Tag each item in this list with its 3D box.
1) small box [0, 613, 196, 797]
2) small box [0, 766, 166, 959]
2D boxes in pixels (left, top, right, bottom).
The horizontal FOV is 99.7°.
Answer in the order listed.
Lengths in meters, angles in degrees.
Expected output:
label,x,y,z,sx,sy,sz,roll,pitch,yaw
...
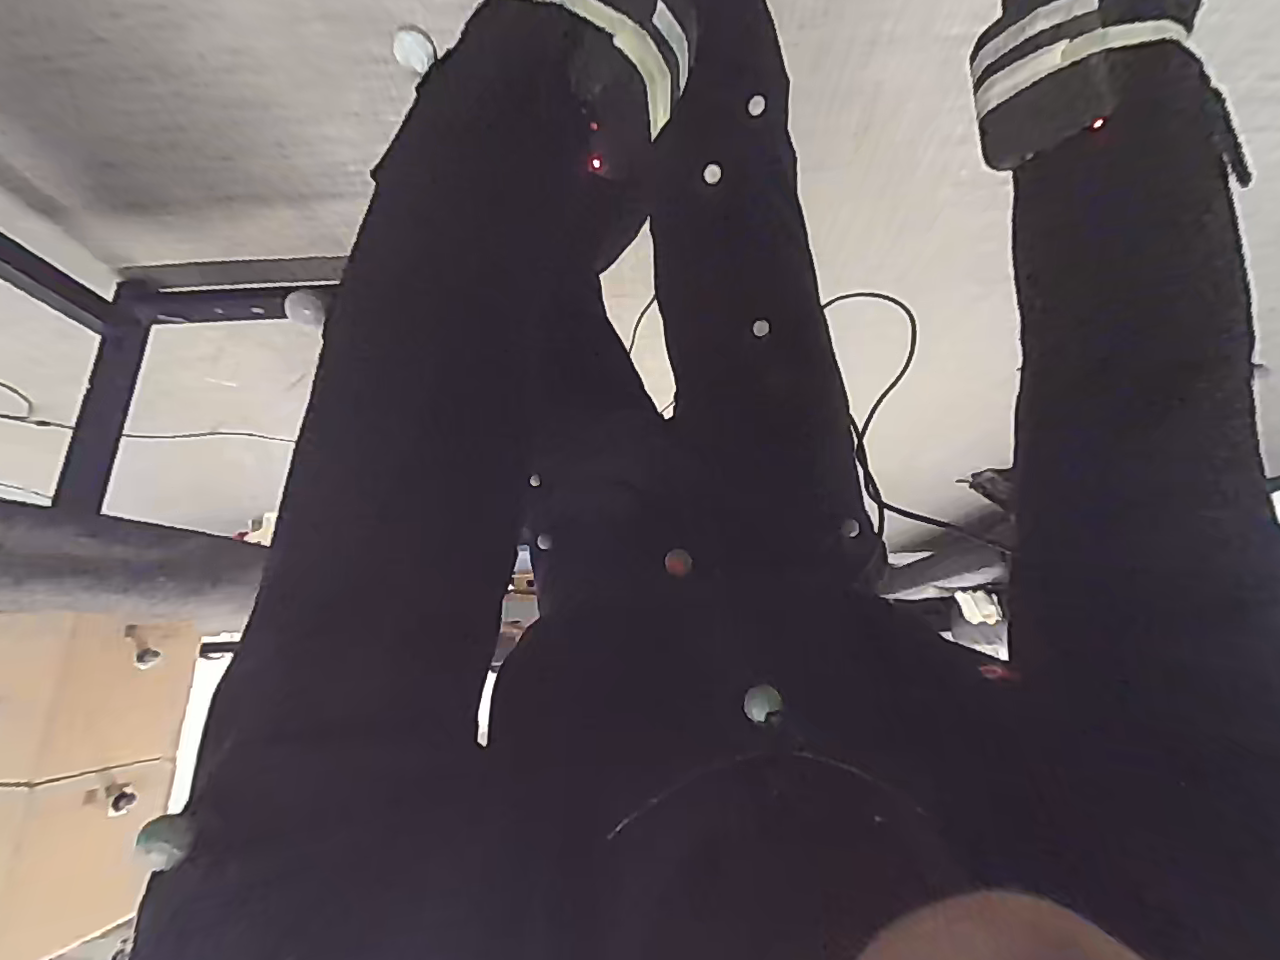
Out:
label,x,y,z,sx,sy,sz,roll,pitch,yaw
small box,-0.661,0.246,0.613,0.179,0.176,0.168,-3,163,2
small box,-0.655,0.401,0.564,0.179,0.176,0.168,-4,163,3
